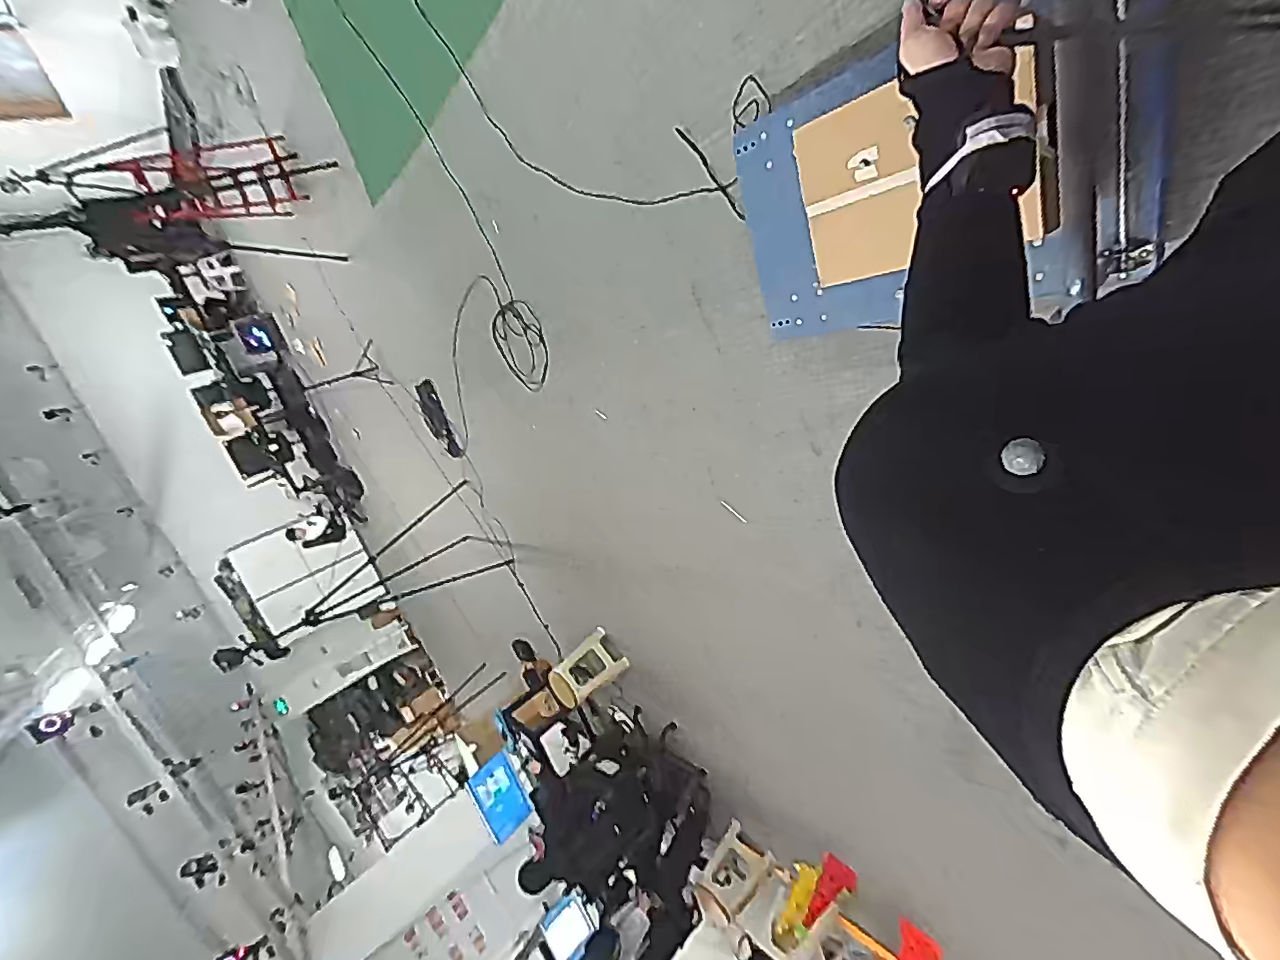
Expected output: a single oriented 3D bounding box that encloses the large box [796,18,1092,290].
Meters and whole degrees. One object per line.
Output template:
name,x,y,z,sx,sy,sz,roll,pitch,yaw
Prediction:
large box,0.587,-0.602,1.055,0.408,0.320,0.320,5,118,50
